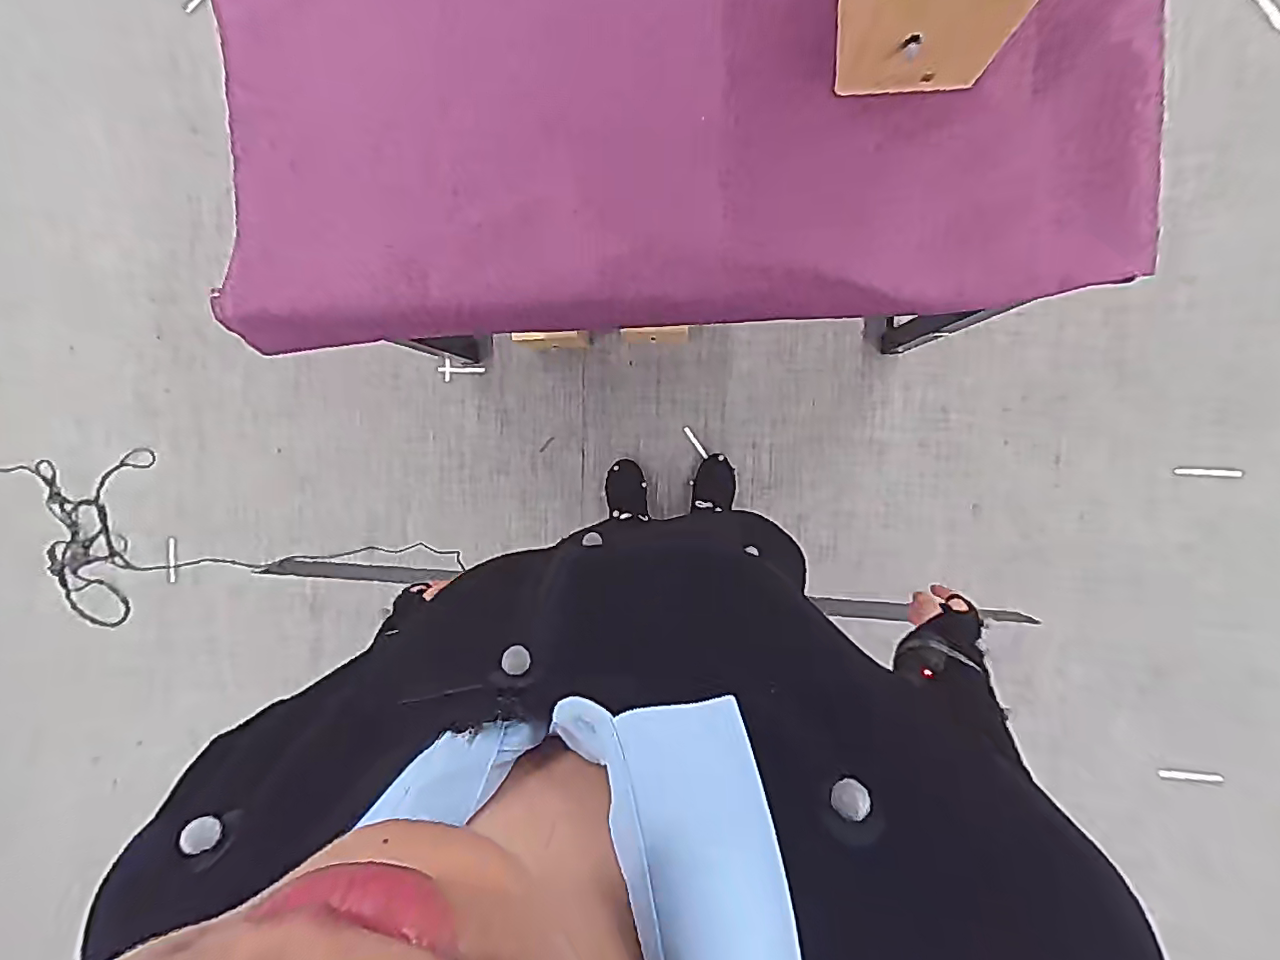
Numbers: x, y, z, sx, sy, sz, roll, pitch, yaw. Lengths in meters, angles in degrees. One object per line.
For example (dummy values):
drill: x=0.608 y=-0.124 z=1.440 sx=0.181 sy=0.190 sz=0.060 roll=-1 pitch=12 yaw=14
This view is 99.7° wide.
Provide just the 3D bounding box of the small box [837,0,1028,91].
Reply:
small box: x=0.327 y=-0.571 z=0.606 sx=0.168 sy=0.176 sz=0.179 roll=1 pitch=94 yaw=6

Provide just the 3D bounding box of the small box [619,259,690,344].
small box: x=0.040 y=-0.447 z=1.374 sx=0.168 sy=0.176 sz=0.179 roll=2 pitch=94 yaw=4
